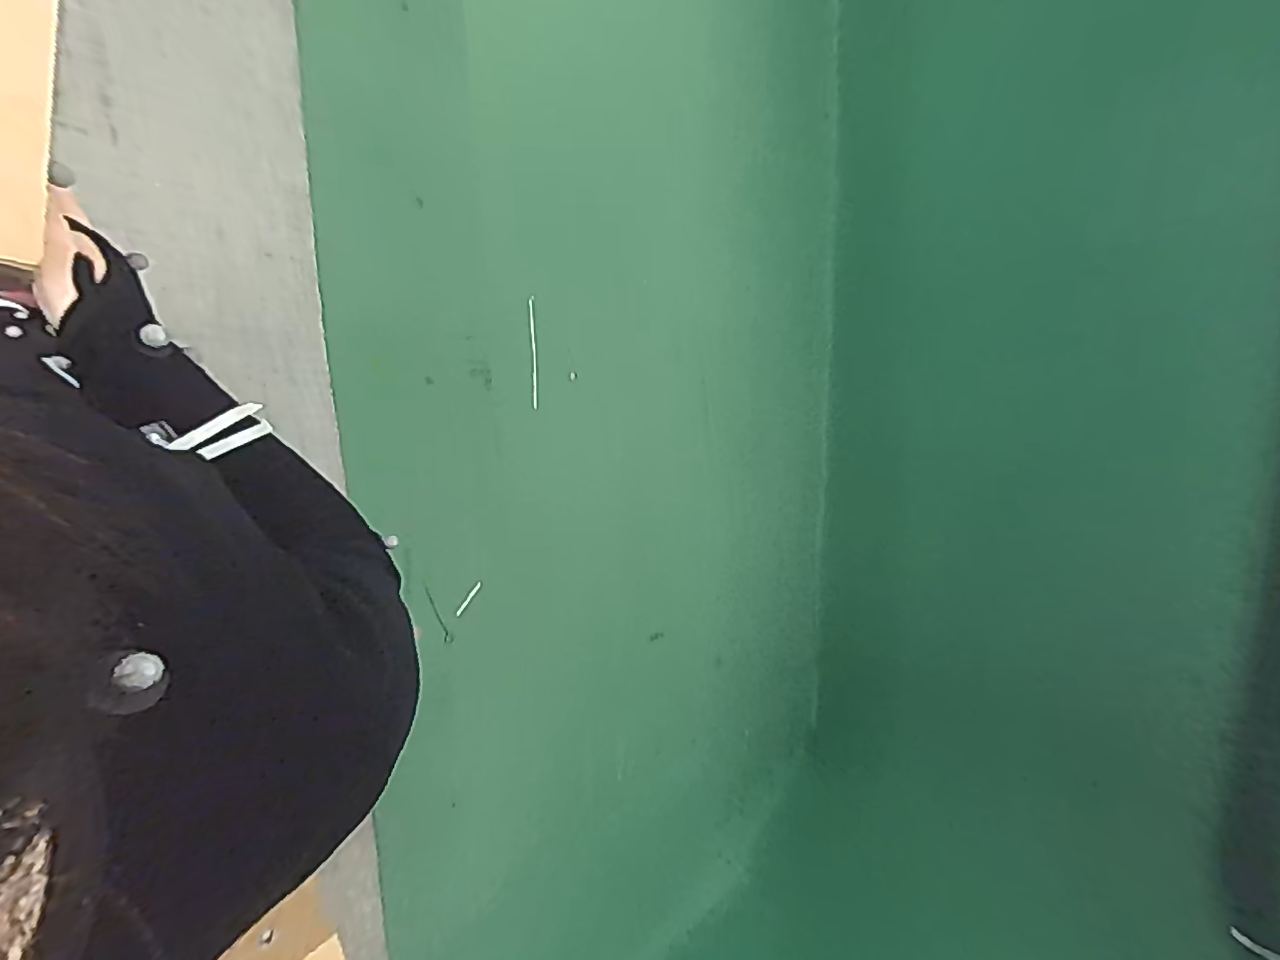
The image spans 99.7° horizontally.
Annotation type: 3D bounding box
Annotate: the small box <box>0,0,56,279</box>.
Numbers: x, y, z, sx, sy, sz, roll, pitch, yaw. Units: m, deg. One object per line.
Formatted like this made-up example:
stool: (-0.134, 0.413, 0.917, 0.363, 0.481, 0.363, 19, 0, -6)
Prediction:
small box: (-0.444, -0.220, 0.291, 0.168, 0.176, 0.179, 2, 98, -51)

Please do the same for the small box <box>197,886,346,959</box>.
small box: (-0.603, 0.831, 0.900, 0.168, 0.176, 0.179, -20, 111, -46)
